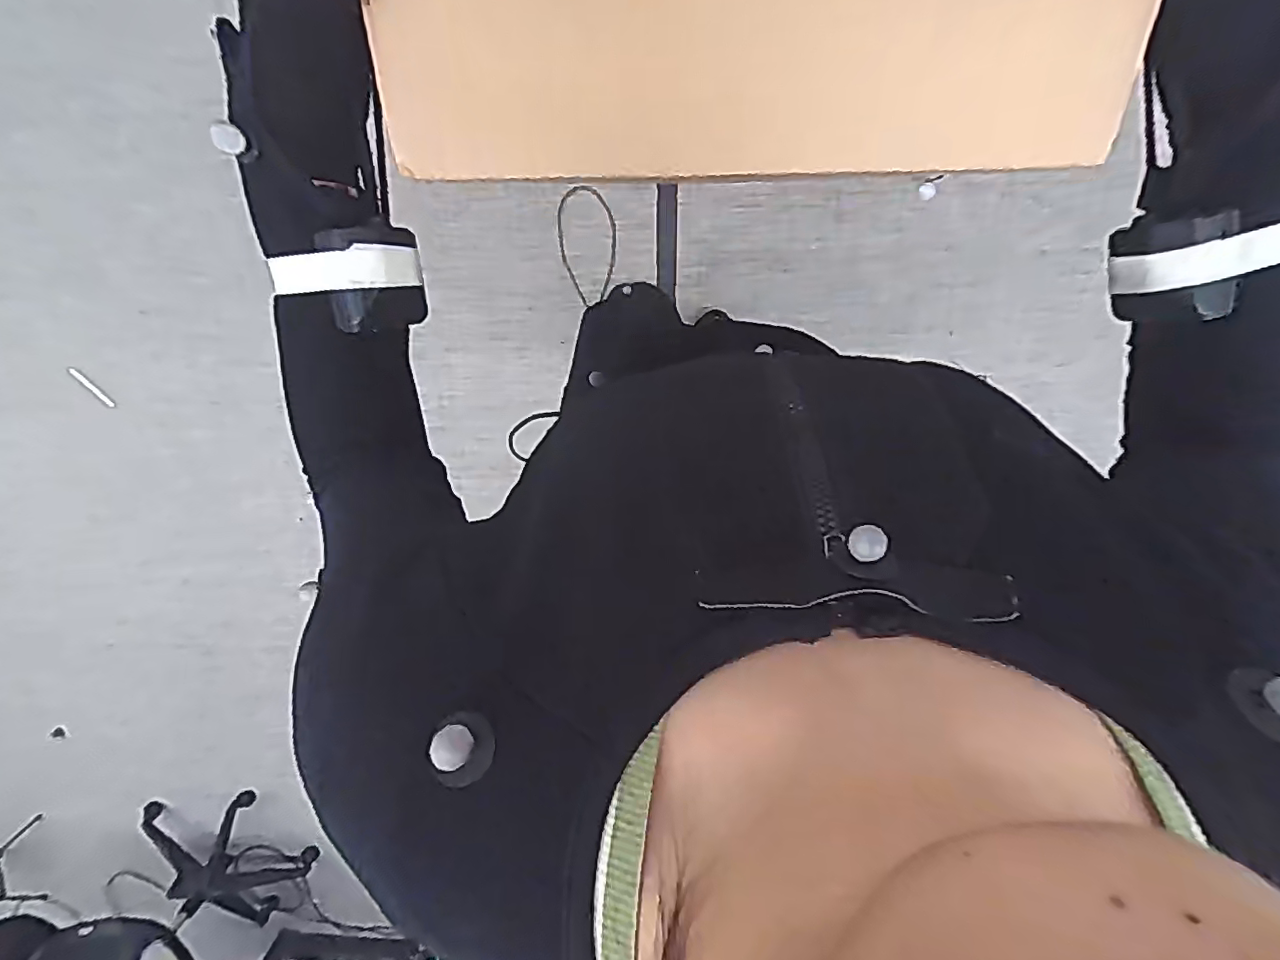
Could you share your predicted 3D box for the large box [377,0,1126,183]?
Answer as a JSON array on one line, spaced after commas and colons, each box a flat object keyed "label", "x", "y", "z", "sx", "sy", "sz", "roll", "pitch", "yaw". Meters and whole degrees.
[{"label": "large box", "x": 0.058, "y": -0.392, "z": 0.376, "sx": 0.408, "sy": 0.320, "sz": 0.320, "roll": -1, "pitch": 119, "yaw": 0}]
